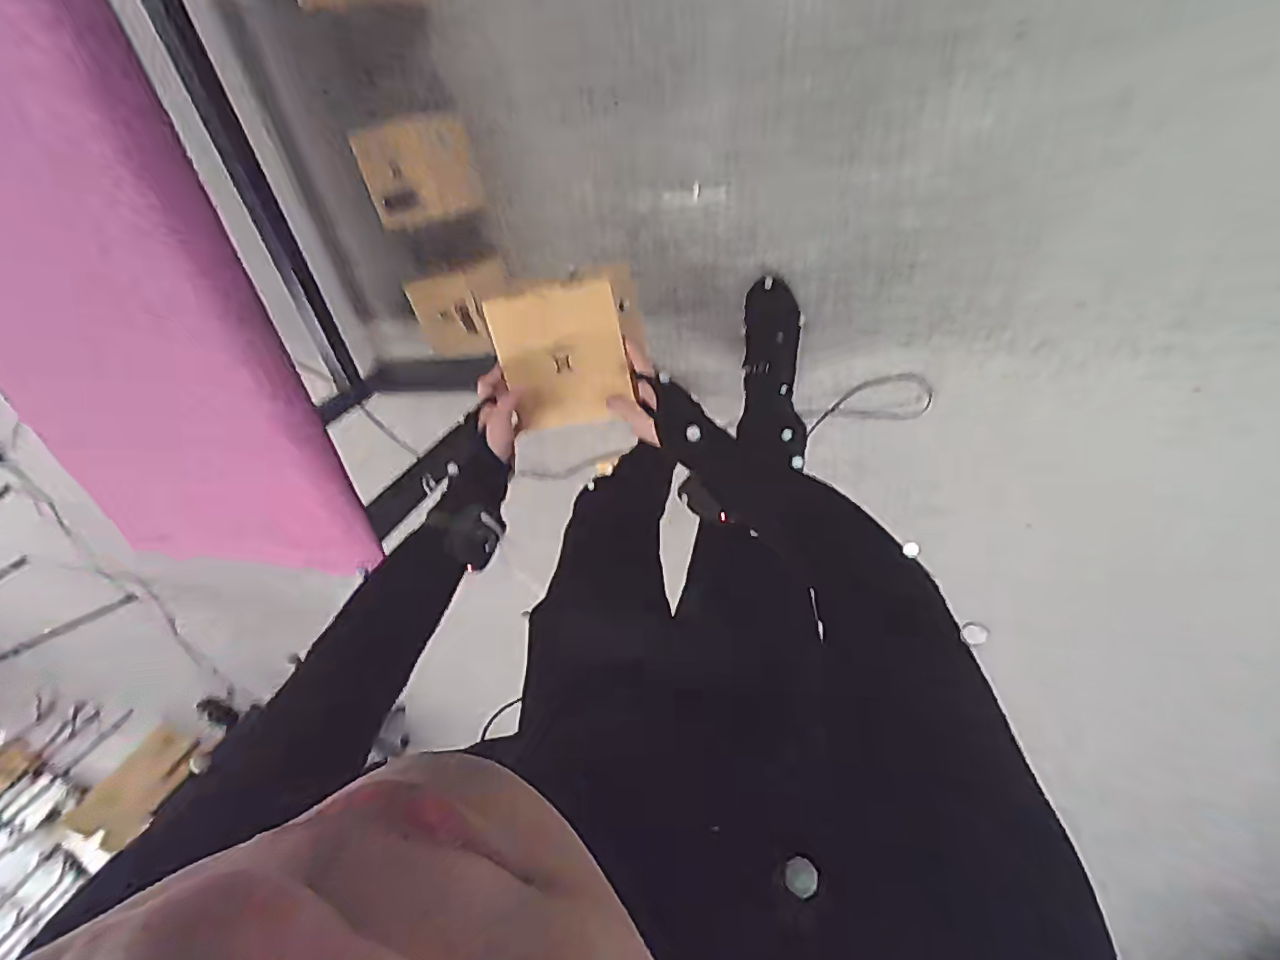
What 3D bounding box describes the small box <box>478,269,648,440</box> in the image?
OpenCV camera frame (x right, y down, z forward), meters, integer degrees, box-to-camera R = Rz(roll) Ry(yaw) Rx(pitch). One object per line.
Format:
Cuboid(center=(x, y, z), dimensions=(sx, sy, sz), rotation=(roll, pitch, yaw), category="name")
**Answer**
Cuboid(center=(-0.090, -0.175, 0.739), dimensions=(0.168, 0.176, 0.179), rotation=(-8, 115, 11), category="small box")
